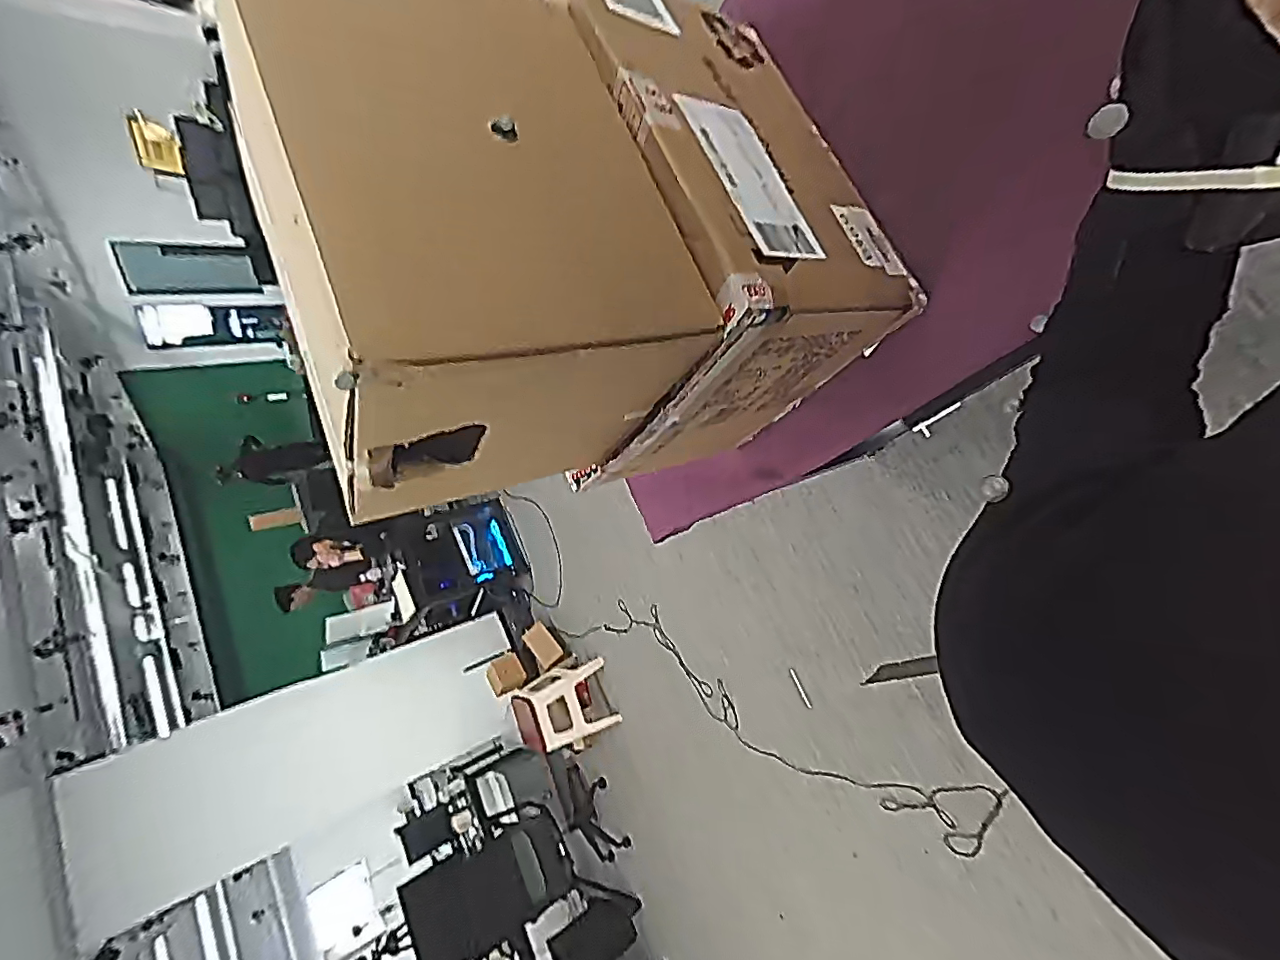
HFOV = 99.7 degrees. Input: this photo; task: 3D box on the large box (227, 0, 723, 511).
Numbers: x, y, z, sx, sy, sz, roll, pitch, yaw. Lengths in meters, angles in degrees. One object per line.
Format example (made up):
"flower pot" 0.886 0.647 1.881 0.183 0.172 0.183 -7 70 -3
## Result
"large box" -0.184 -0.236 0.571 0.320 0.320 0.408 -43 68 56
